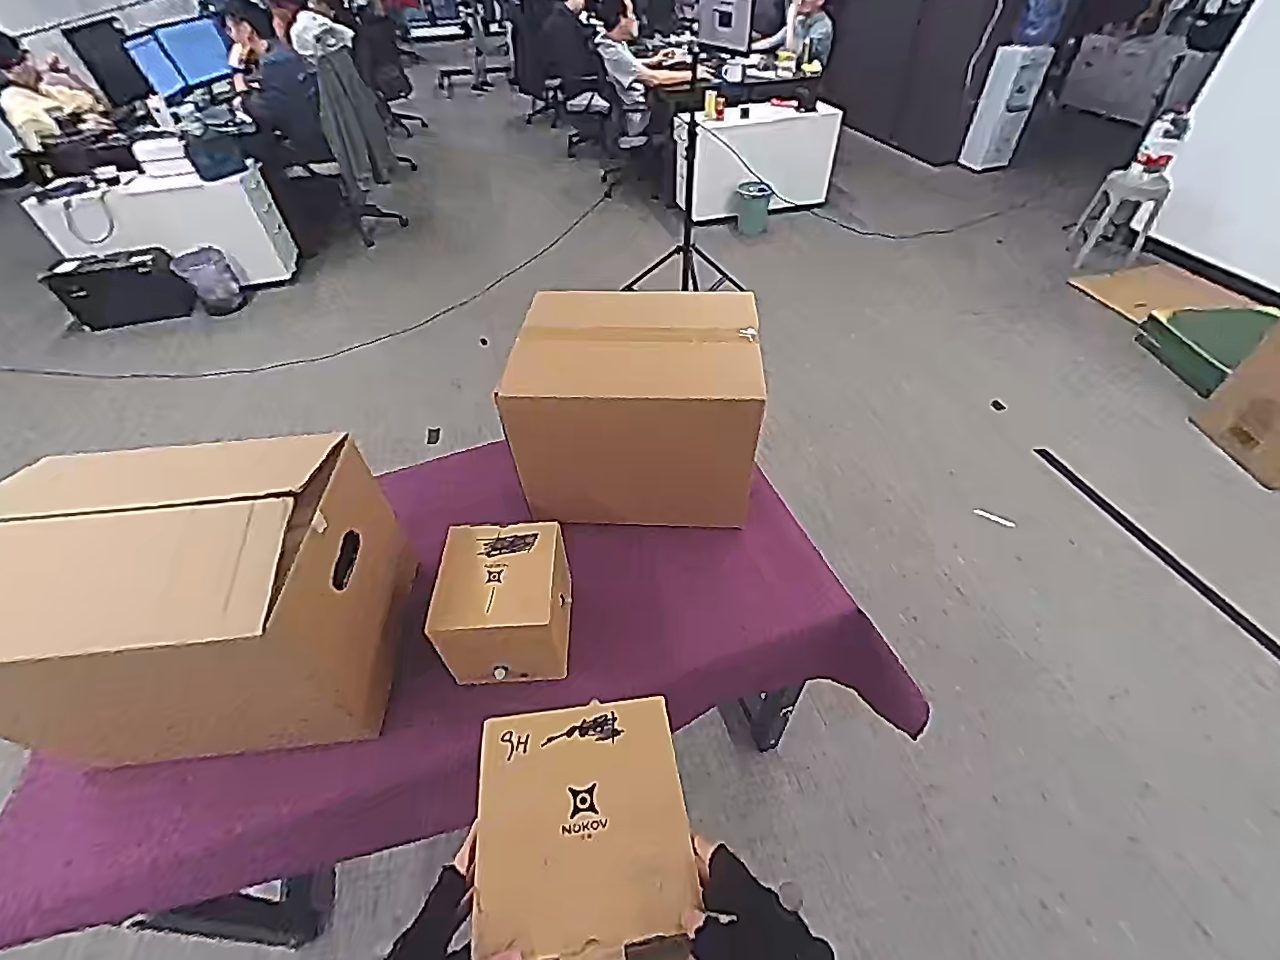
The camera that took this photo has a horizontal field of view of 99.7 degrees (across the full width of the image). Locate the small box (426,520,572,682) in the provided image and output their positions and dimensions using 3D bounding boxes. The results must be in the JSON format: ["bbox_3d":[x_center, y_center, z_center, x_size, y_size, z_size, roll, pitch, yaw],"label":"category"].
[{"bbox_3d":[-0.196,0.182,0.810,0.168,0.176,0.179,-3,46,0],"label":"small box"}]

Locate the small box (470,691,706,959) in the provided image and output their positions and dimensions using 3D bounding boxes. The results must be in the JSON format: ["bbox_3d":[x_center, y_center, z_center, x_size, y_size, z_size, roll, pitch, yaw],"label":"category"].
[{"bbox_3d":[-0.046,0.317,0.479,0.168,0.176,0.179,-5,43,-8],"label":"small box"}]
